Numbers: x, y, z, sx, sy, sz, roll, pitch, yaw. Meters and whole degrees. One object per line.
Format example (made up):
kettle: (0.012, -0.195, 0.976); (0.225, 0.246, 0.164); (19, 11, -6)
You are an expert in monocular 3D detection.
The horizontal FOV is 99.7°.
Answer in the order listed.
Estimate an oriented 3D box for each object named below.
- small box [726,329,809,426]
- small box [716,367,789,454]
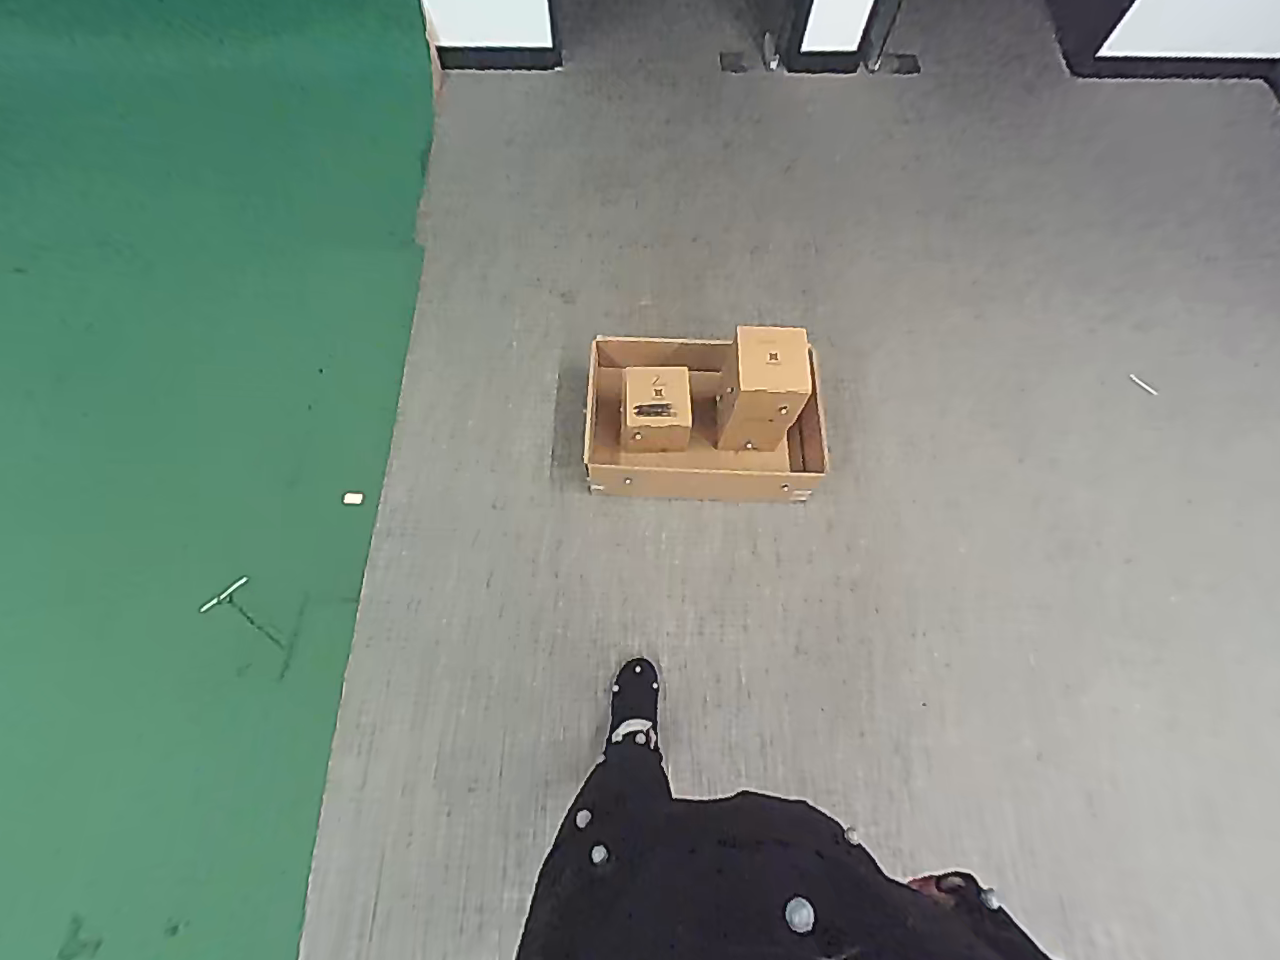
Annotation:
small box: (0.305, -0.244, 1.322); (0.168, 0.176, 0.179); (2, 68, 0)
small box: (0.299, -0.187, 1.474); (0.168, 0.176, 0.179); (1, 69, 1)
